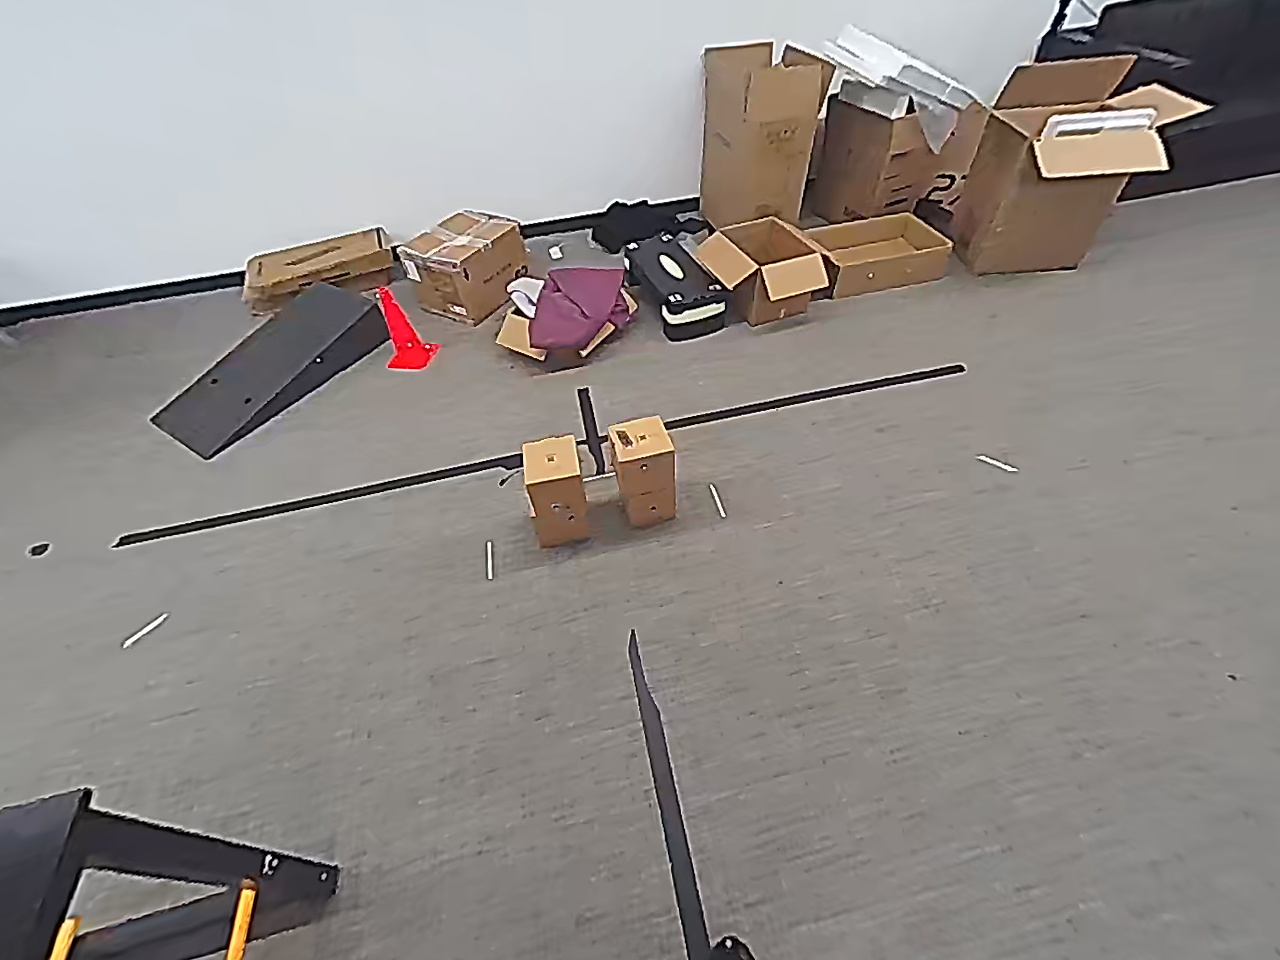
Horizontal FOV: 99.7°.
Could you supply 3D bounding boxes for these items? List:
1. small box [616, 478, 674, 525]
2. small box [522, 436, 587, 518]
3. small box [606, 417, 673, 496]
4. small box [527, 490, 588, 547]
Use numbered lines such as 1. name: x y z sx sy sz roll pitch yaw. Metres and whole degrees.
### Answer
1. small box: 0.017 0.034 1.842 0.168 0.176 0.179 -14 50 -7
2. small box: -0.265 -0.007 1.681 0.168 0.176 0.179 -12 50 -4
3. small box: 0.001 -0.071 1.715 0.179 0.176 0.168 -13 49 -8
4. small box: -0.271 0.101 1.804 0.179 0.176 0.168 -11 48 -5
